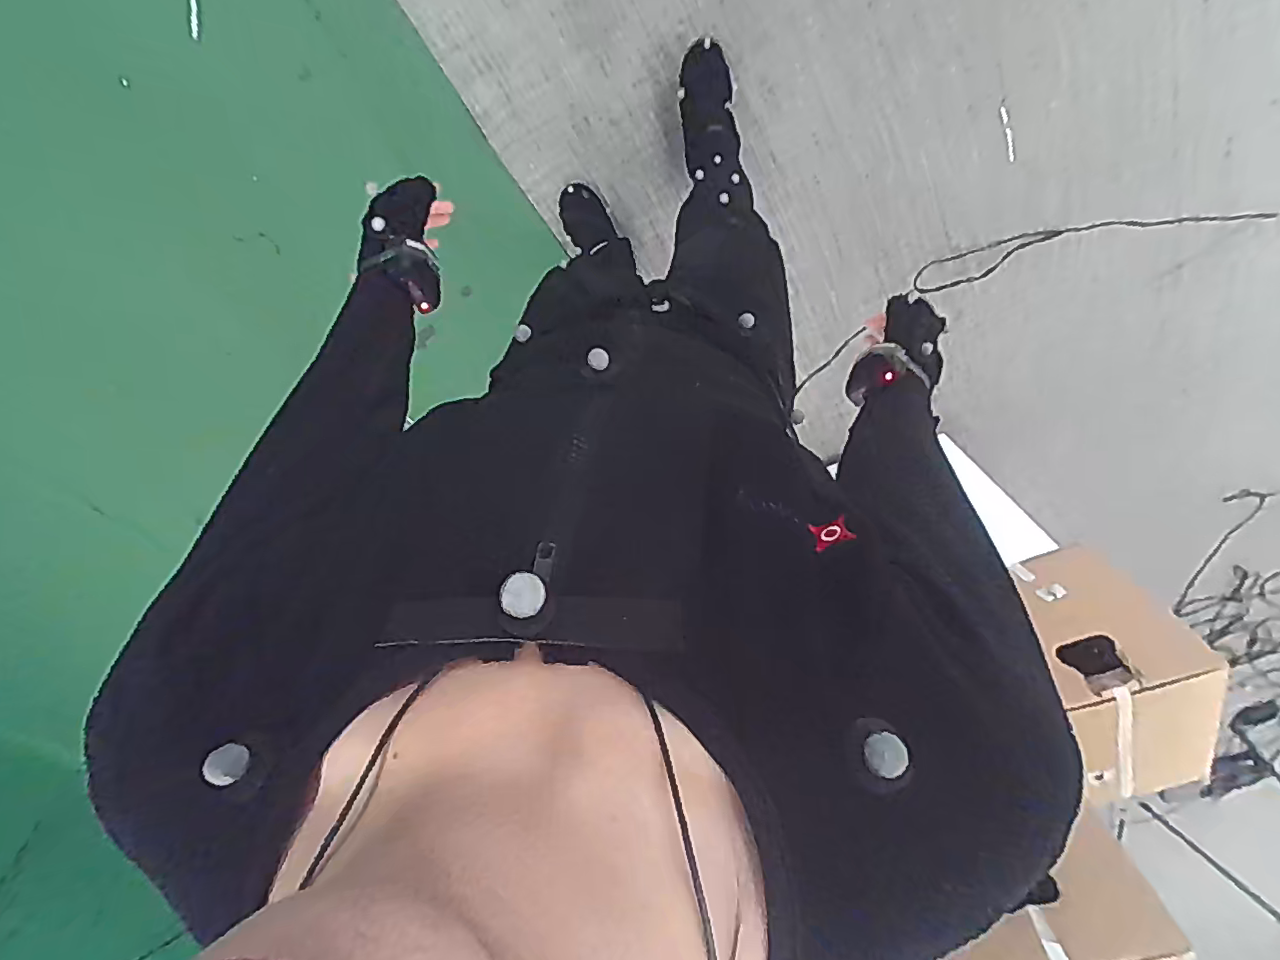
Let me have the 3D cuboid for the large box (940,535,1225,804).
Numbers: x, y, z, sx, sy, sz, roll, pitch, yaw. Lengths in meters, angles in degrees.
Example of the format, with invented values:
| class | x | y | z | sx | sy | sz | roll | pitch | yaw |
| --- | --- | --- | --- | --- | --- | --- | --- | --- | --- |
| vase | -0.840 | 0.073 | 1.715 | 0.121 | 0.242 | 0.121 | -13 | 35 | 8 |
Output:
| class | x | y | z | sx | sy | sz | roll | pitch | yaw |
| --- | --- | --- | --- | --- | --- | --- | --- | --- | --- |
| large box | 0.877 | 0.390 | 1.112 | 0.320 | 0.320 | 0.408 | -24 | 123 | 15 |
